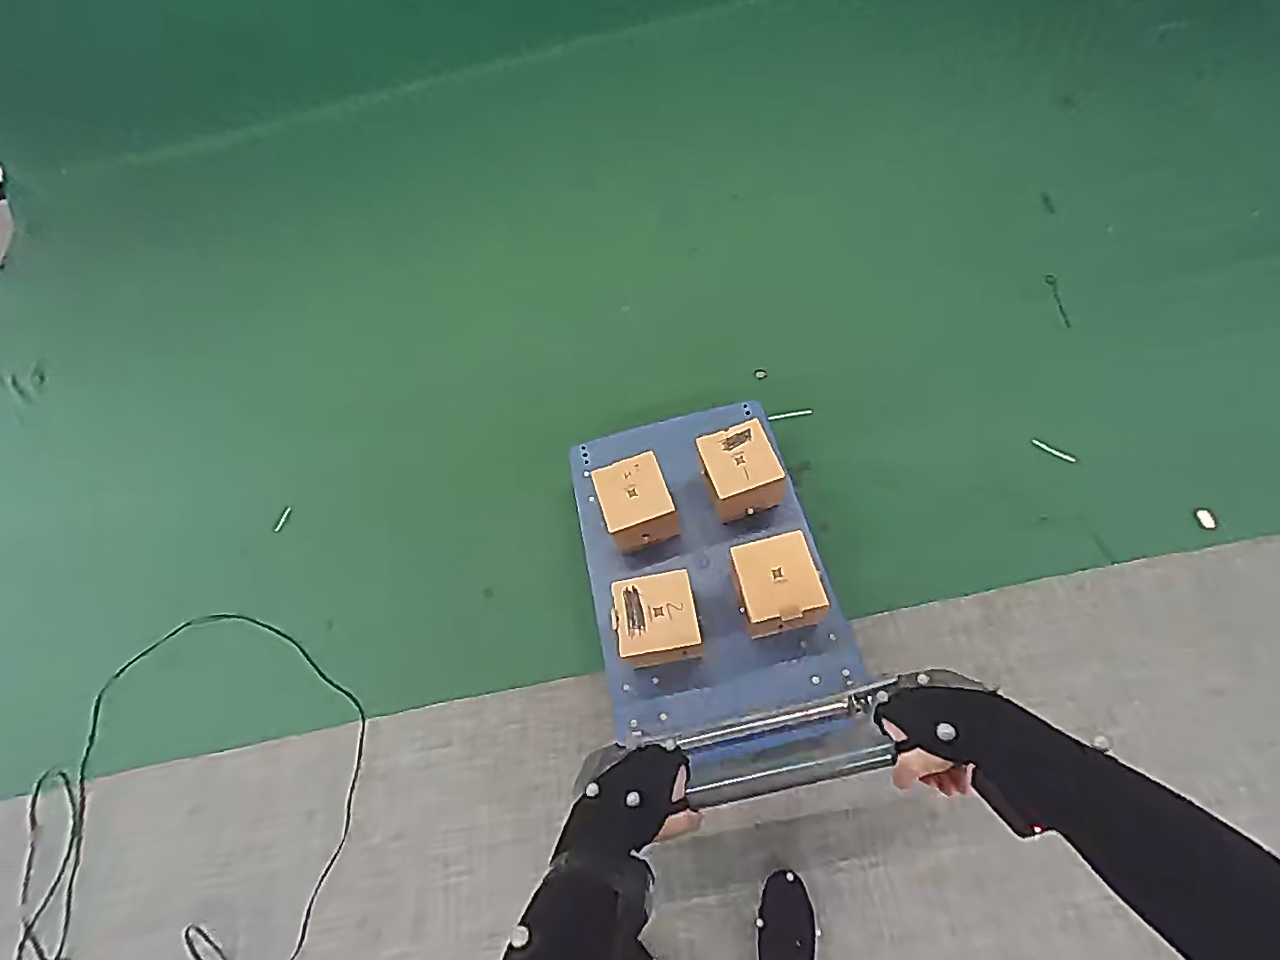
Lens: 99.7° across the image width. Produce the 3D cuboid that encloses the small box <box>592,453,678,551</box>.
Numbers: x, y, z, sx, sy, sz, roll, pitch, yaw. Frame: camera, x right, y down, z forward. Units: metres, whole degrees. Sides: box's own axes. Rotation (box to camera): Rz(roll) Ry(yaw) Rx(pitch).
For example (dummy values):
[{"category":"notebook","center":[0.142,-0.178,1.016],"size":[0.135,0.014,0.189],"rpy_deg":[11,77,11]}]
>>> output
[{"category":"small box","center":[-0.007,0.065,1.366],"size":[0.168,0.176,0.179],"rpy_deg":[-19,63,-2]}]

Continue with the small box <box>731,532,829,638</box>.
[{"category":"small box","center":[0.308,0.243,1.232],"size":[0.168,0.176,0.179],"rpy_deg":[-14,63,1]}]

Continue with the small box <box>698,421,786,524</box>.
[{"category":"small box","center":[0.250,-0.014,1.366],"size":[0.168,0.176,0.179],"rpy_deg":[-19,64,0]}]
